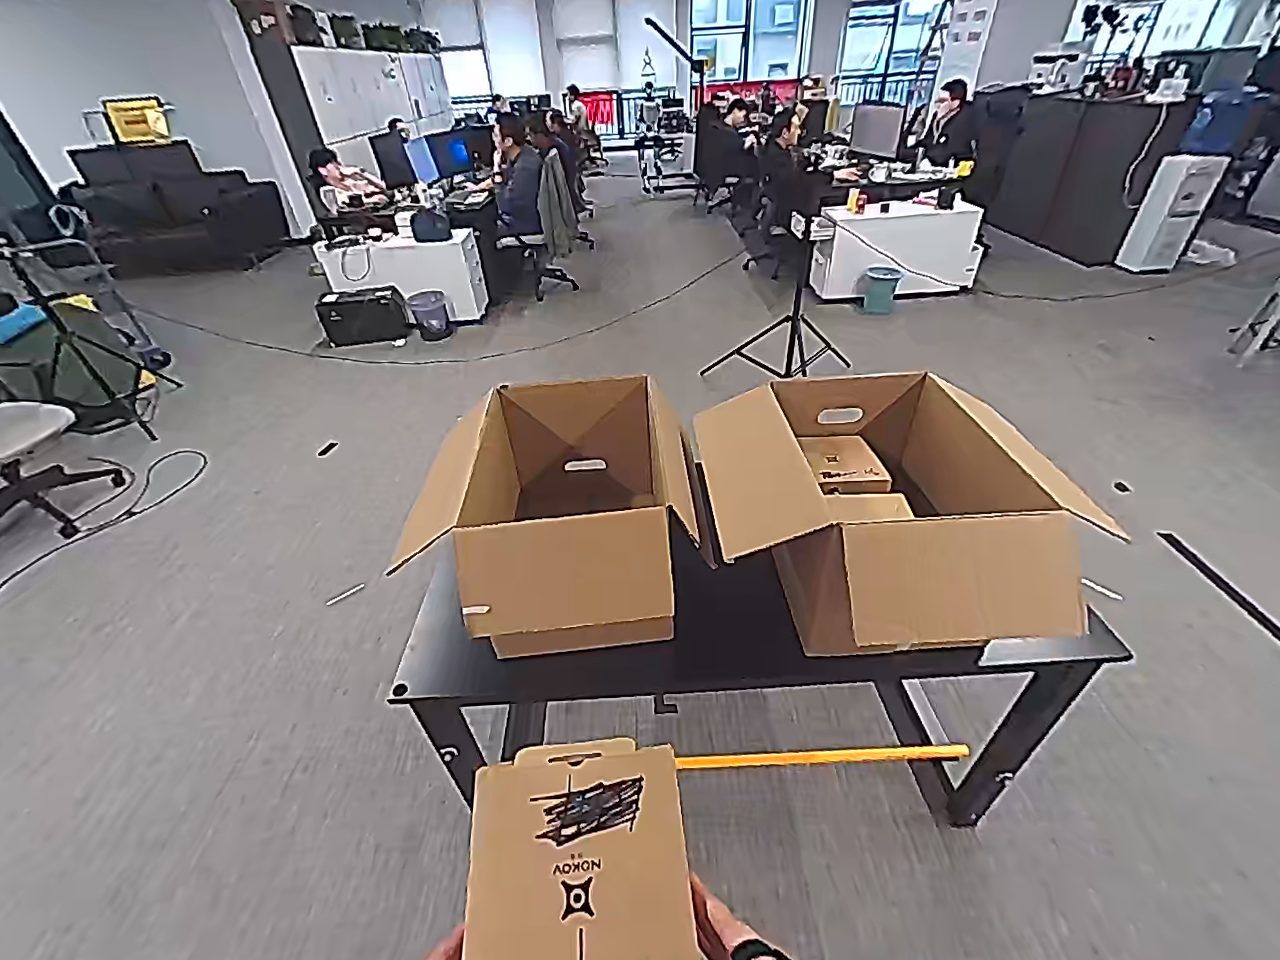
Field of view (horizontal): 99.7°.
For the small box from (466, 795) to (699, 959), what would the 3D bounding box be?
[{"bbox_3d":[-0.042,0.382,0.444,0.168,0.176,0.179,-5,50,-3],"label":"small box"}]
